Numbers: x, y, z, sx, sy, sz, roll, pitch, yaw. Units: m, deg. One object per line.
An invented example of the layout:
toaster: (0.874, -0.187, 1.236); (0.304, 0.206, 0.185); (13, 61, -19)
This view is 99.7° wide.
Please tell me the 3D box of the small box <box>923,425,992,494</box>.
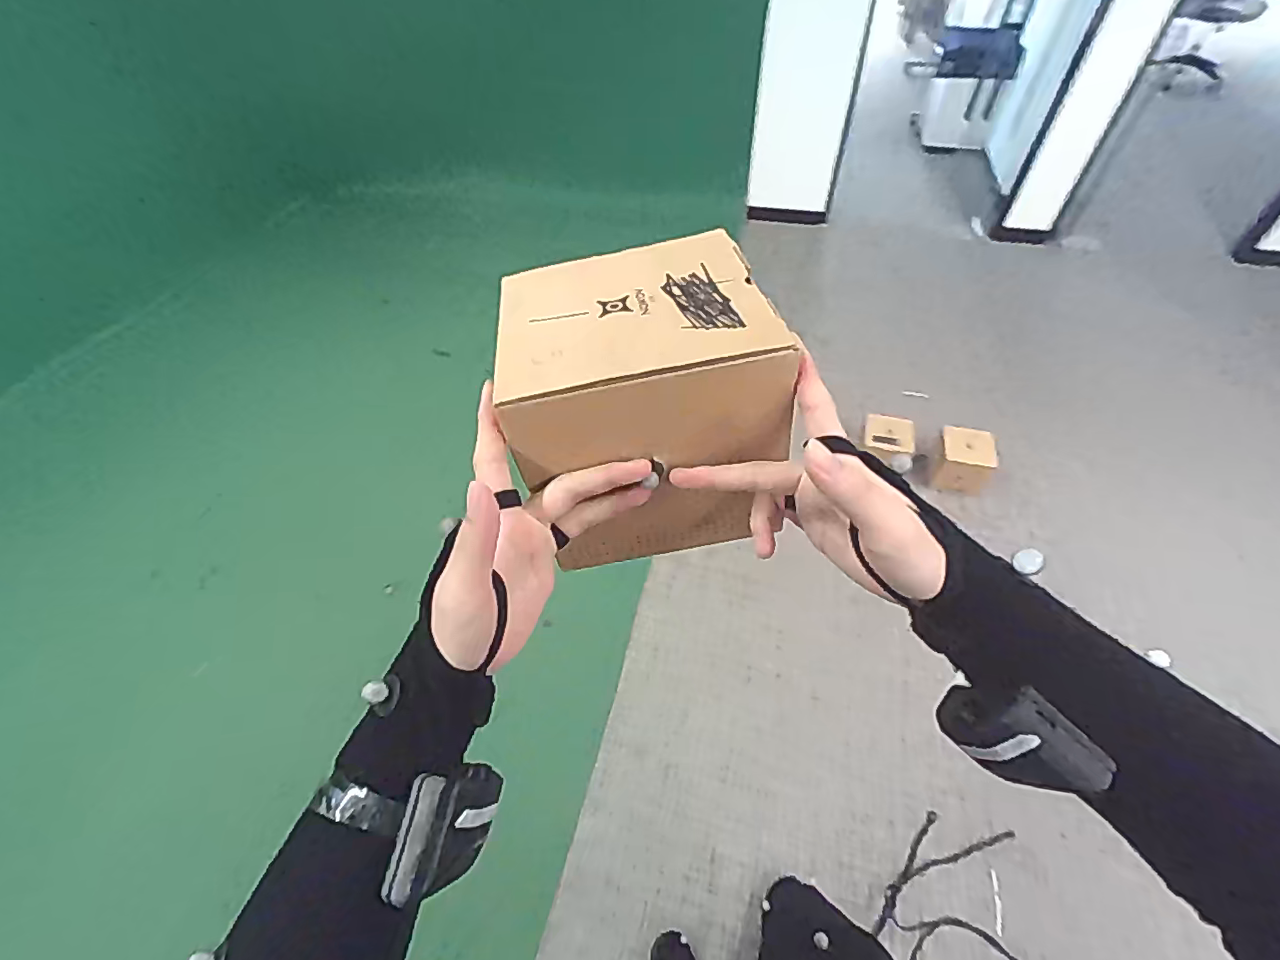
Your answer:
small box: (1.153, -0.072, 1.976); (0.168, 0.176, 0.179); (11, 52, 10)

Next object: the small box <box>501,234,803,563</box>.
small box: (0.008, -0.059, 0.415); (0.179, 0.176, 0.168); (-11, 45, 1)
